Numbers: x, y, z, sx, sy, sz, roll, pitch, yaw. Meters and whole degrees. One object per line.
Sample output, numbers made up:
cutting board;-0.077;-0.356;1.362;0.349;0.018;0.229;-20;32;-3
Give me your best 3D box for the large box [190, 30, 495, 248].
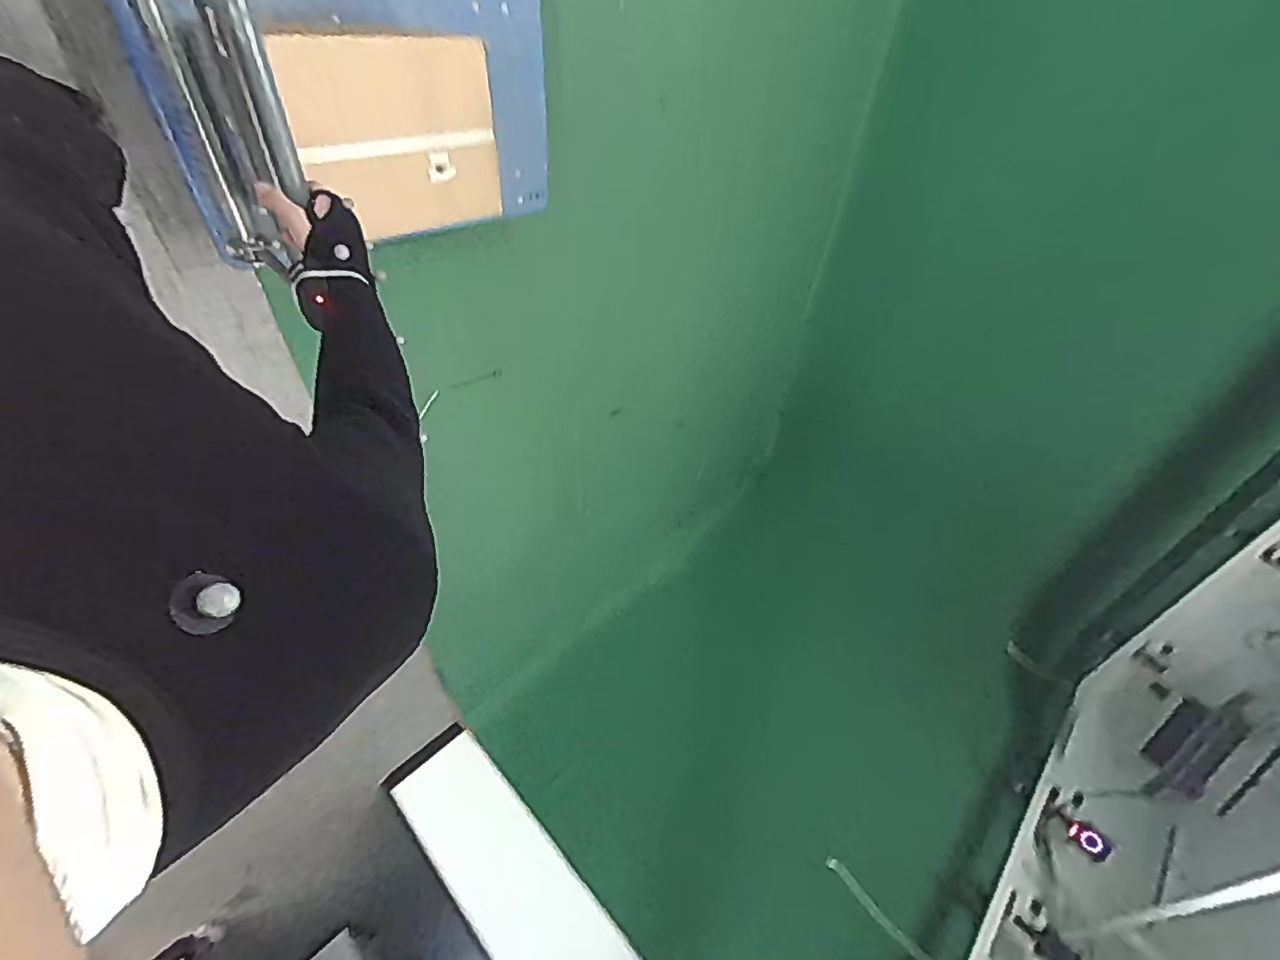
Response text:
large box;-0.569;-0.708;1.096;0.408;0.320;0.320;-33;144;-34
